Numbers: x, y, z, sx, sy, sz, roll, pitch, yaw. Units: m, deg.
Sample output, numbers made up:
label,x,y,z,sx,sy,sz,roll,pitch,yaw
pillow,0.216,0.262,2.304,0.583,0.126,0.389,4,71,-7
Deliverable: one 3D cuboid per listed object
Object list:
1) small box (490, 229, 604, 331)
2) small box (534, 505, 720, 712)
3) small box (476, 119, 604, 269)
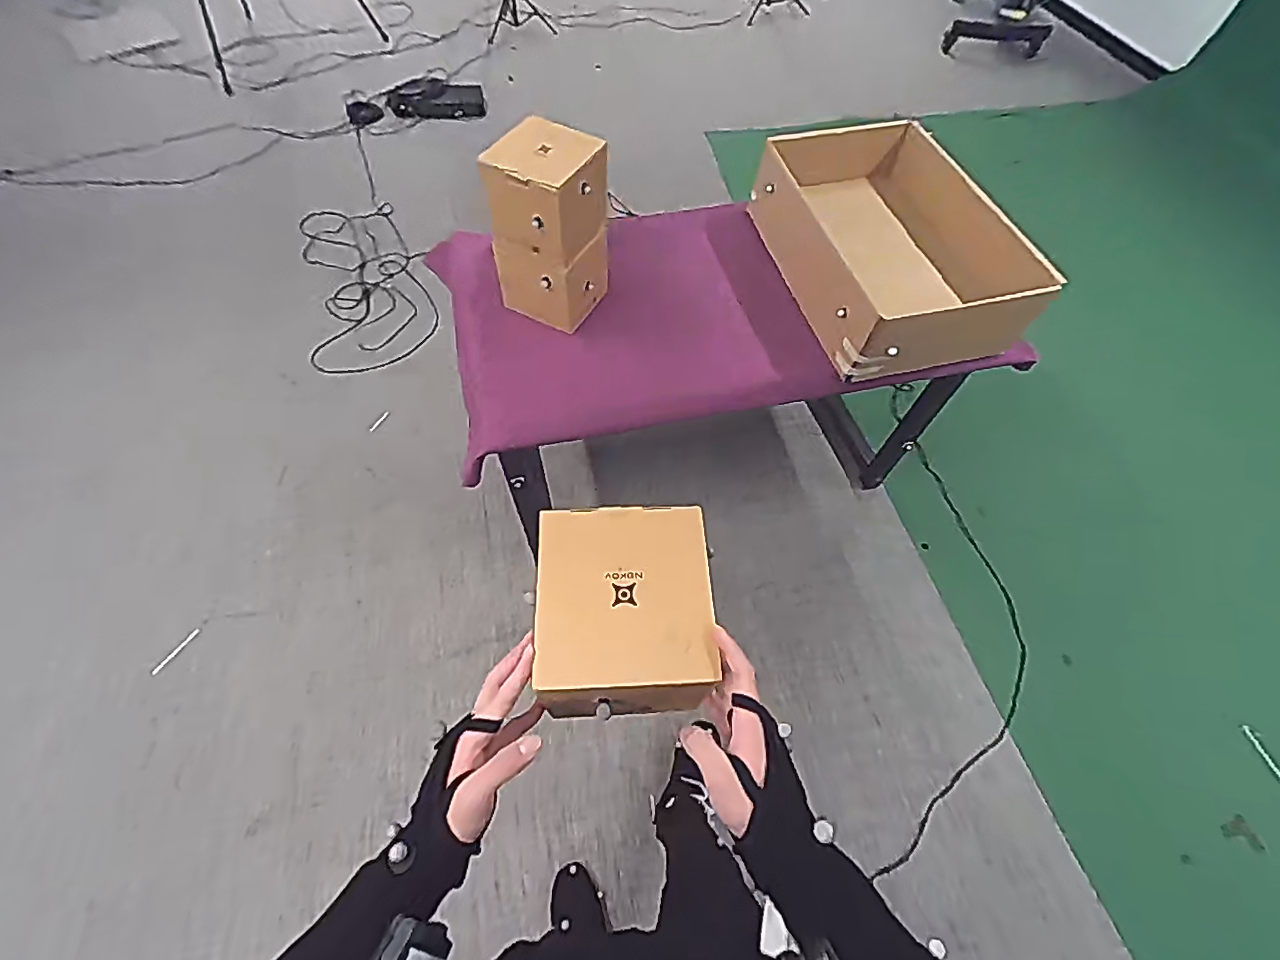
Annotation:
label,x,y,z,sx,sy,sz,roll,pitch,yaw
small box,-0.190,-0.450,1.164,0.179,0.176,0.168,25,61,11
small box,-0.016,0.144,0.576,0.168,0.176,0.179,-2,58,-3
small box,-0.178,-0.537,1.026,0.168,0.176,0.179,26,61,10
